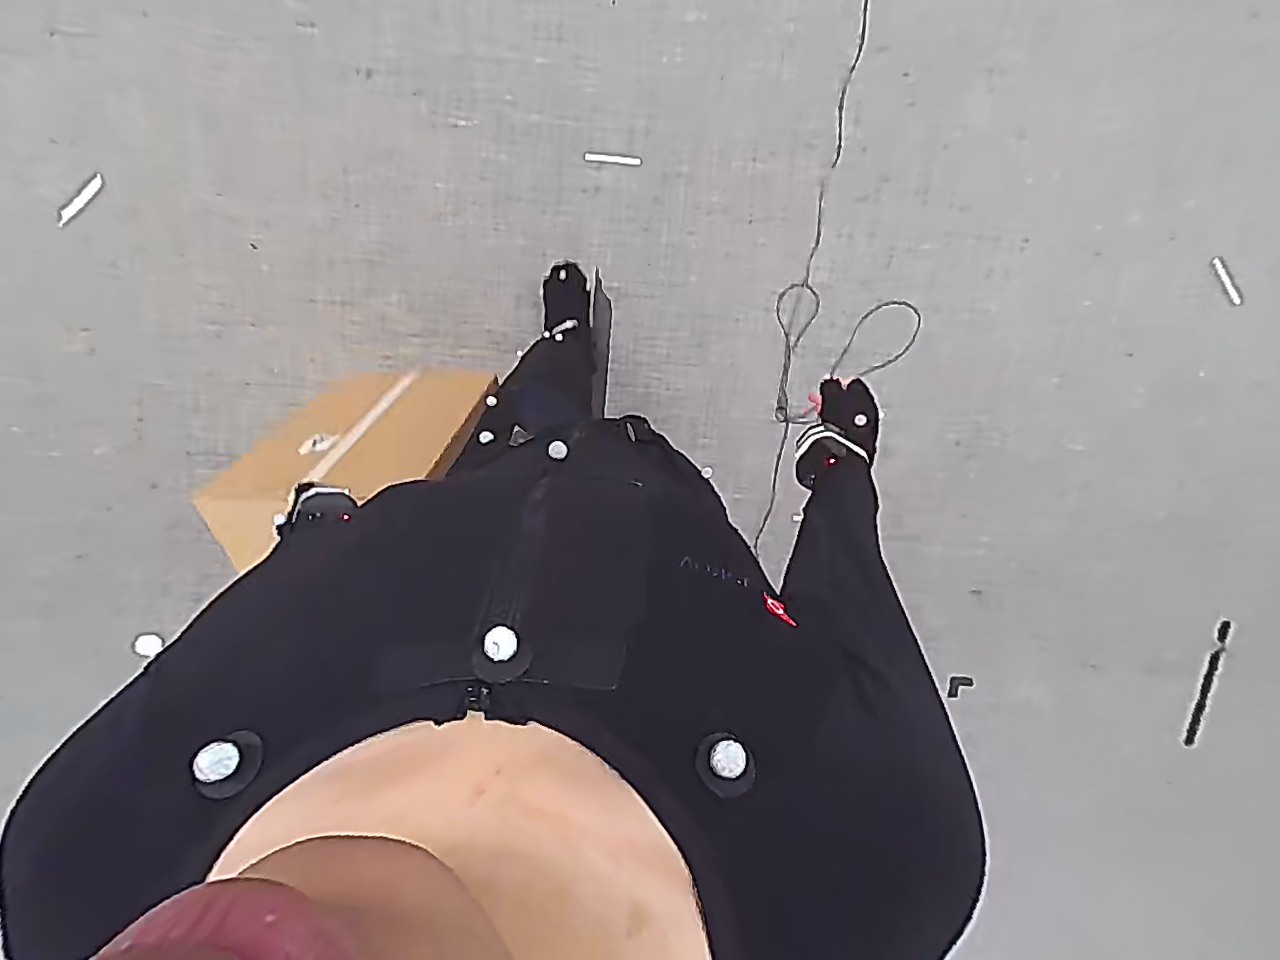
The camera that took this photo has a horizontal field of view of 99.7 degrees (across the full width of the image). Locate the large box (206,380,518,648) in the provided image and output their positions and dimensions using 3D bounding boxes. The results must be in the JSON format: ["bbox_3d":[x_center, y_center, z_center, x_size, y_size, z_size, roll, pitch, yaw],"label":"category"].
[{"bbox_3d":[-0.438,0.043,0.985,0.320,0.408,0.320,-1,125,6],"label":"large box"}]
